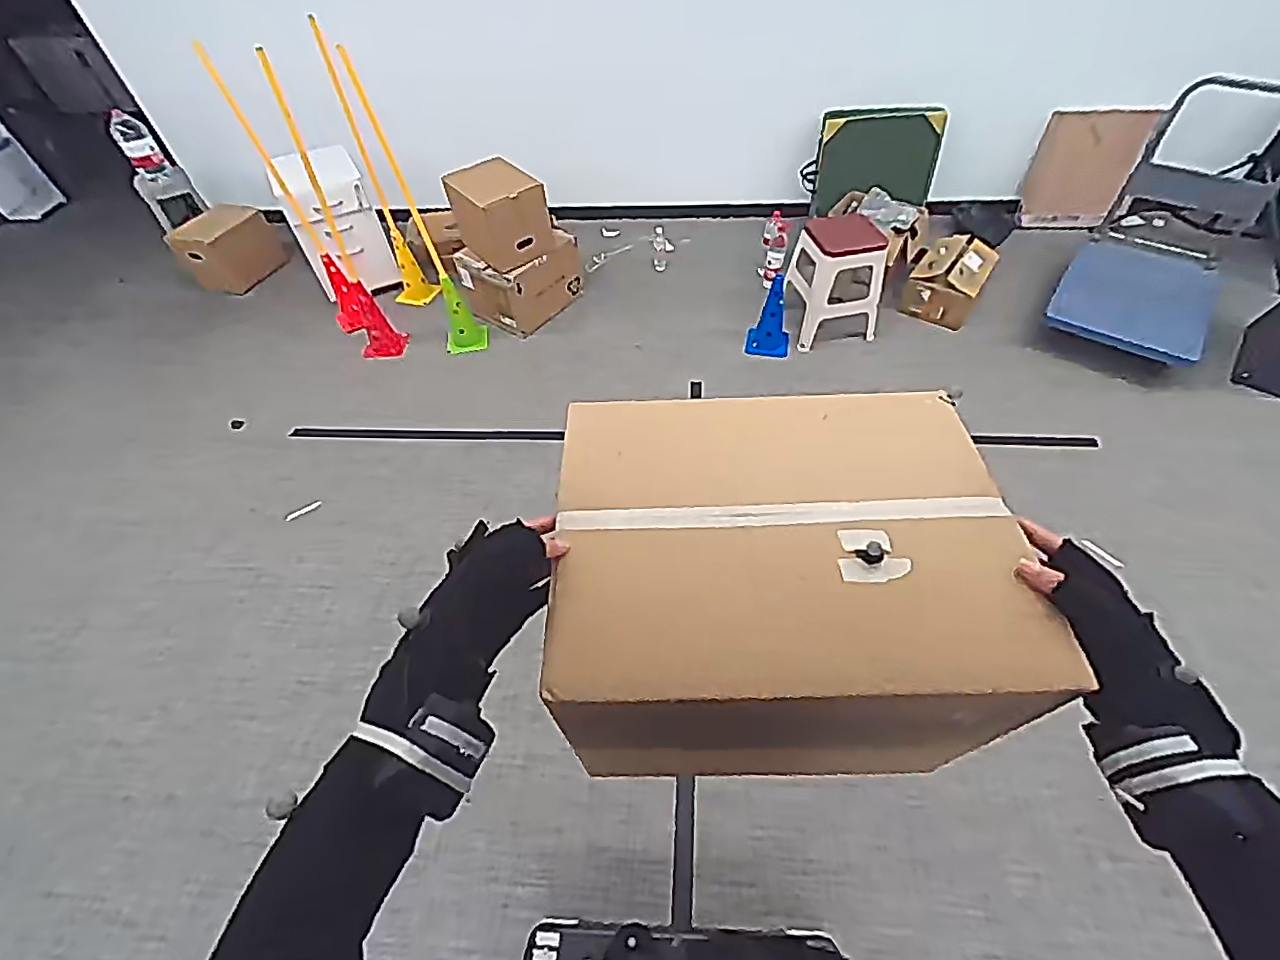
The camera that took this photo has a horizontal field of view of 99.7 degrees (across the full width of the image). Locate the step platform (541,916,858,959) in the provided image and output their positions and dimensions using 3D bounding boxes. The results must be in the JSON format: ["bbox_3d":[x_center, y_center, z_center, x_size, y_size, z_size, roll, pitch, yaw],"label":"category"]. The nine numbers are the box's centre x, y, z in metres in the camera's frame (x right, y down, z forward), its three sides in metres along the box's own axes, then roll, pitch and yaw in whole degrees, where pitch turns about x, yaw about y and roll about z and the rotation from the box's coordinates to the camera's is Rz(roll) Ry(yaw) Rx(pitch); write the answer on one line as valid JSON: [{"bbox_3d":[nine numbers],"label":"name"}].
[{"bbox_3d":[0.121,1.102,1.123,0.684,0.204,0.286,0,51,2],"label":"step platform"}]

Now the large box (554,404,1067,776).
[{"bbox_3d":[0.129,0.134,0.620,0.408,0.320,0.320,-1,52,1],"label":"large box"}]
